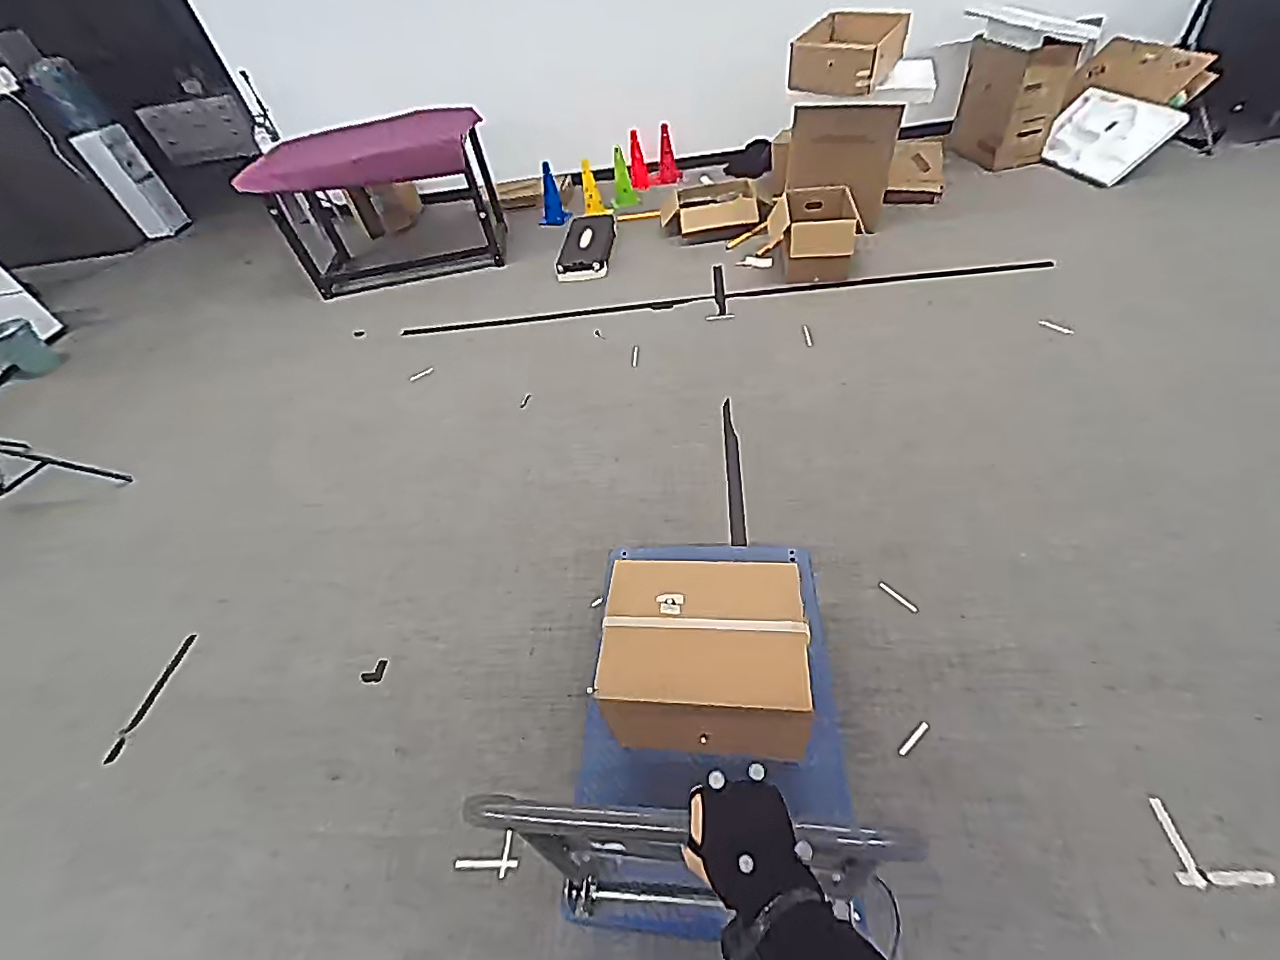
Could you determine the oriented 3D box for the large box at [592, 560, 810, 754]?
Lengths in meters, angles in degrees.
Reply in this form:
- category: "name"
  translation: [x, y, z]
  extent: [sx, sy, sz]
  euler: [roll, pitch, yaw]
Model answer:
- category: "large box"
  translation: [0.142, 0.390, 1.189]
  extent: [0.408, 0.320, 0.320]
  euler: [-2, 47, 11]
